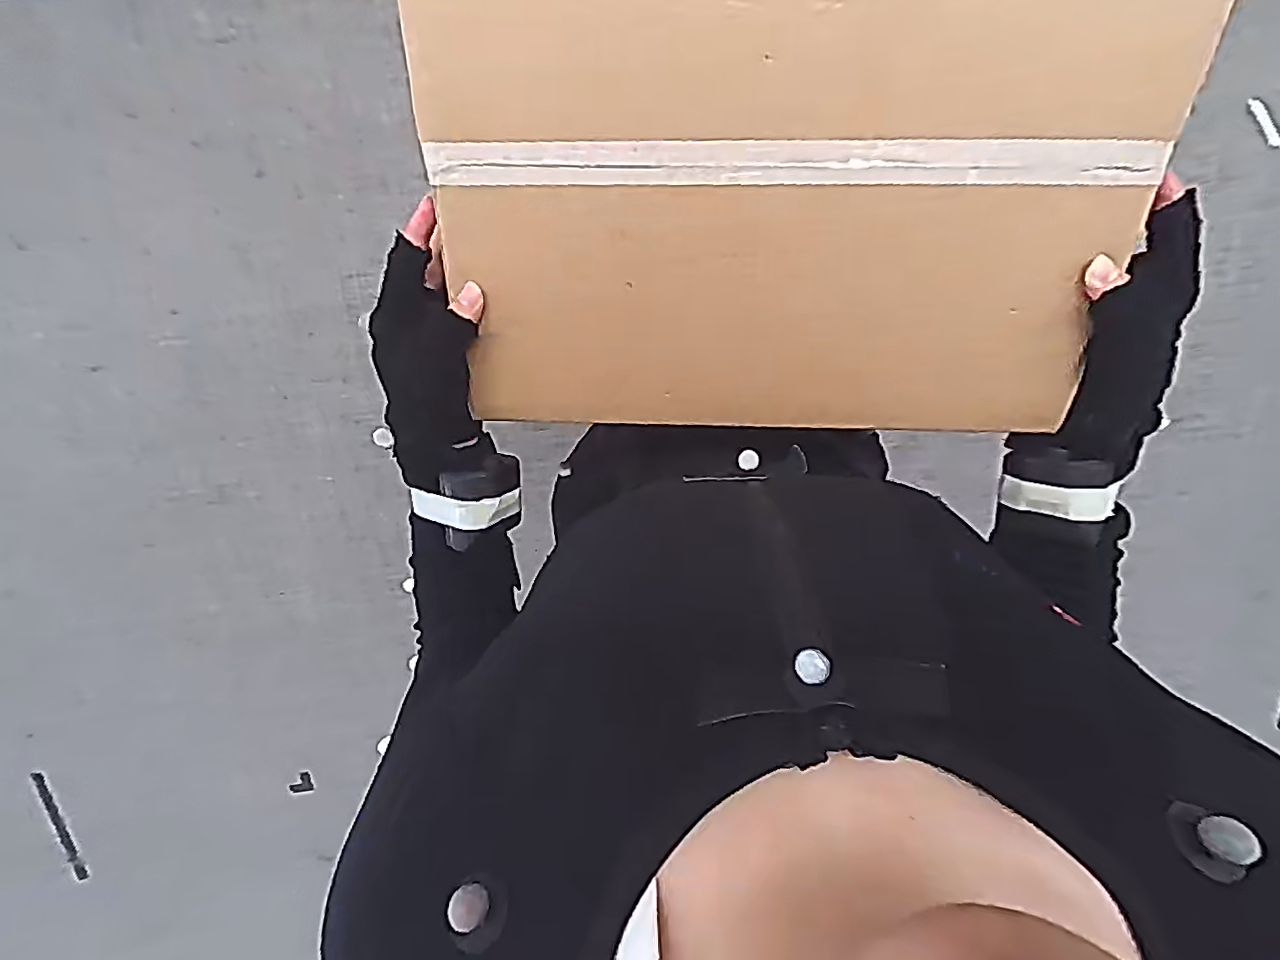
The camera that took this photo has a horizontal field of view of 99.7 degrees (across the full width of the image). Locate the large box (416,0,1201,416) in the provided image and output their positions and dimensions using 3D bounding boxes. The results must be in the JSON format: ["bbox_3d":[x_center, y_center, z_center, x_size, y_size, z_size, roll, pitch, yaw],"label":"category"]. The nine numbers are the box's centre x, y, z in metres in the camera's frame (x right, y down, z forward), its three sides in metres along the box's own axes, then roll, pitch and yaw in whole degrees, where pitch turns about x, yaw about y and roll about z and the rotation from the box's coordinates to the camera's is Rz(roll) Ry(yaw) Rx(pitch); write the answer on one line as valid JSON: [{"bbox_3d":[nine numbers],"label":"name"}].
[{"bbox_3d":[0.085,-0.252,0.442,0.408,0.320,0.320,1,120,2],"label":"large box"}]
